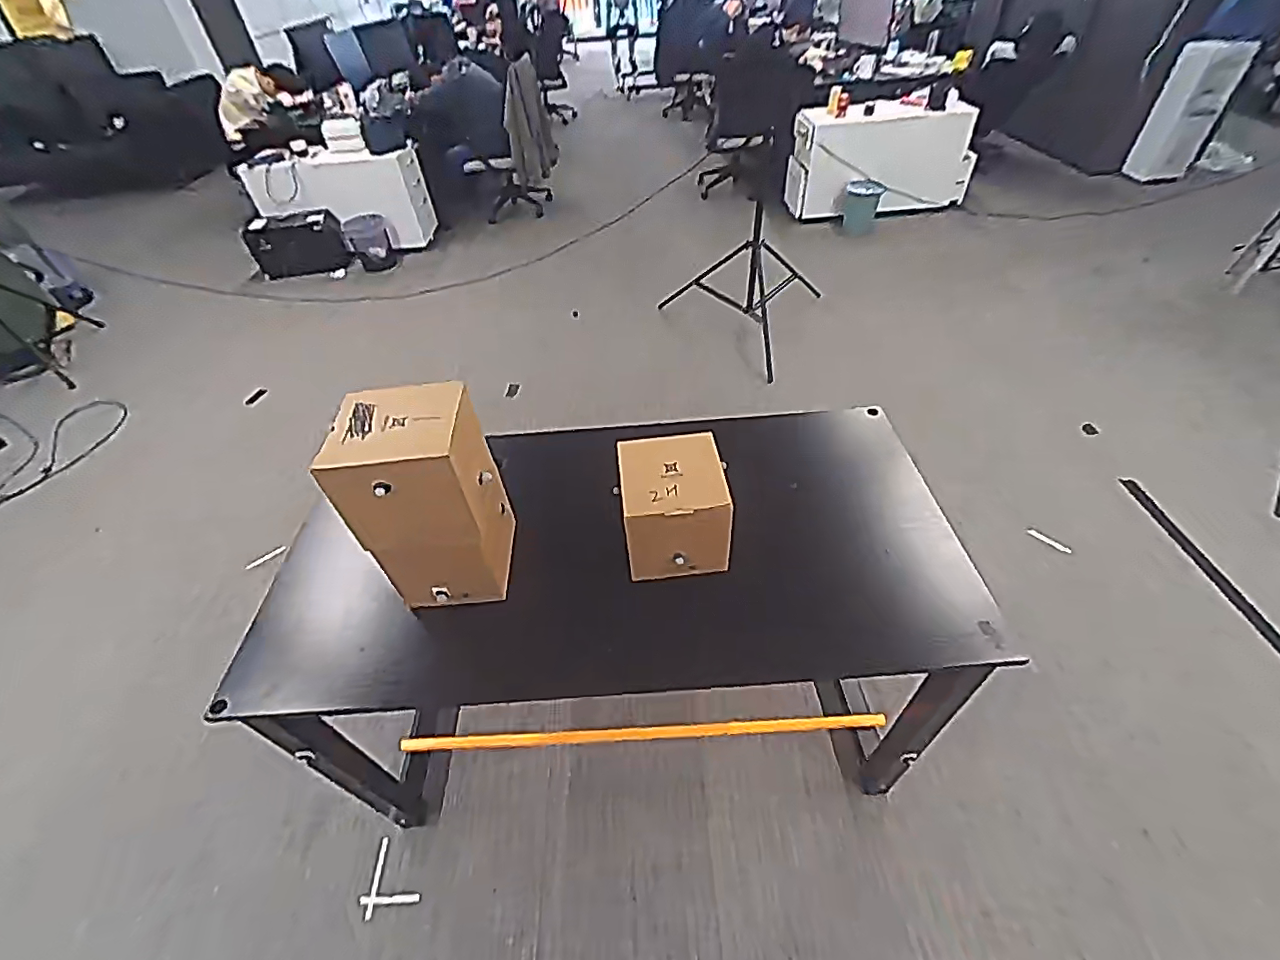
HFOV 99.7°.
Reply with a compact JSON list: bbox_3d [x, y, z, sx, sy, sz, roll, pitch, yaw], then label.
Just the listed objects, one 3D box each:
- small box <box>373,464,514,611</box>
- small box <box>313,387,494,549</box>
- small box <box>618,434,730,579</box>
[{"bbox_3d":[-0.317,0.098,0.915,0.168,0.176,0.179,-7,46,0],"label":"small box"},{"bbox_3d":[-0.330,-0.014,0.795,0.179,0.176,0.168,-7,45,-1],"label":"small box"},{"bbox_3d":[0.053,0.046,0.928,0.168,0.176,0.179,-7,45,-1],"label":"small box"}]
